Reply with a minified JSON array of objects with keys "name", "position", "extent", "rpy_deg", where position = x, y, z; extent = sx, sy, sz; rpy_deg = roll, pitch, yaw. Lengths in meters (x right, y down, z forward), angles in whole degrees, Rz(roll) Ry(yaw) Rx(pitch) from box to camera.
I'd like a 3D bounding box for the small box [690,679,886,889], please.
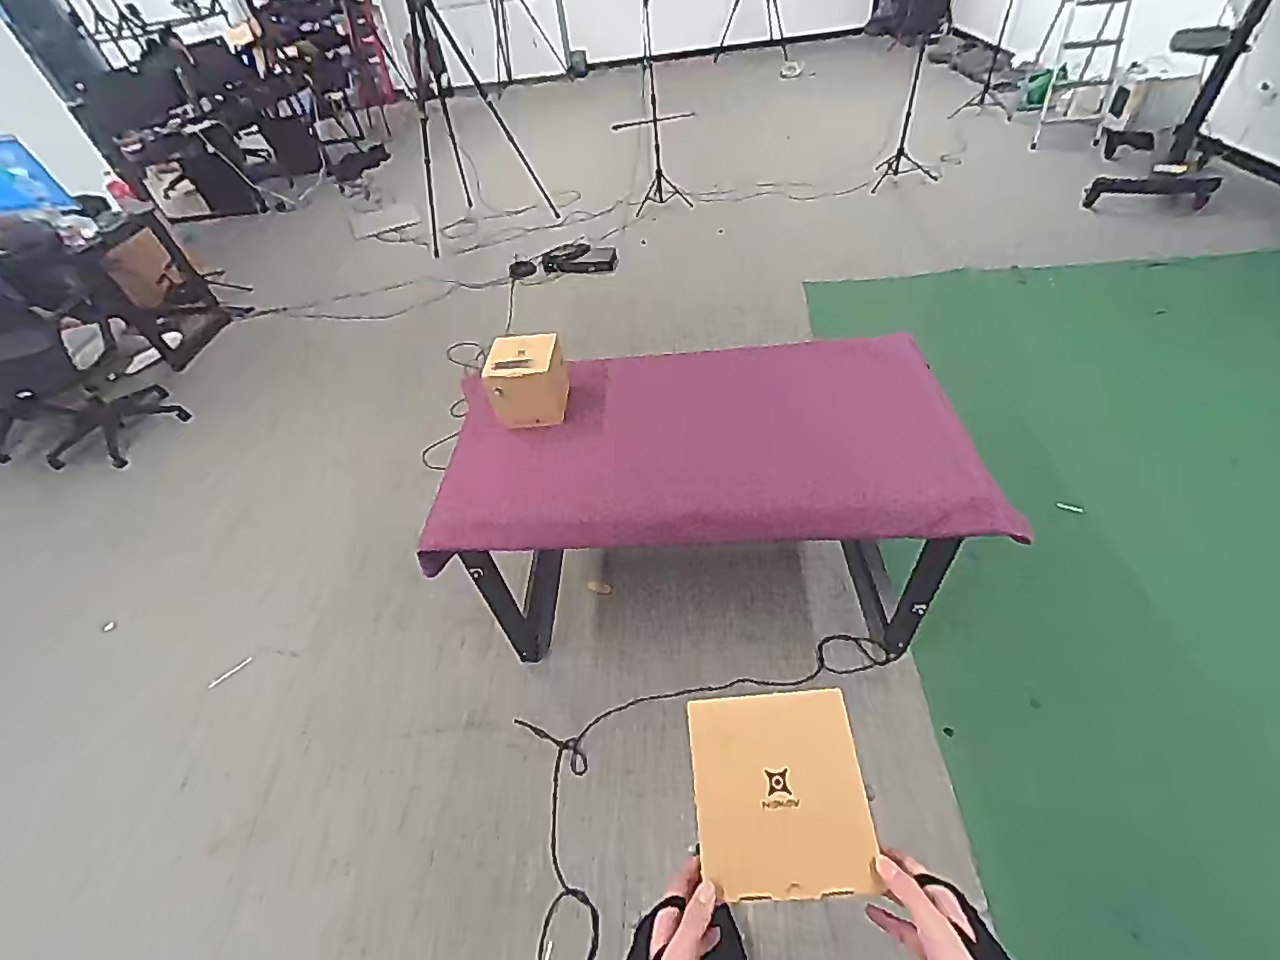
[{"name":"small box","position":[0.145,0.332,0.600],"extent":[0.168,0.176,0.179],"rpy_deg":[-6,60,4]}]
